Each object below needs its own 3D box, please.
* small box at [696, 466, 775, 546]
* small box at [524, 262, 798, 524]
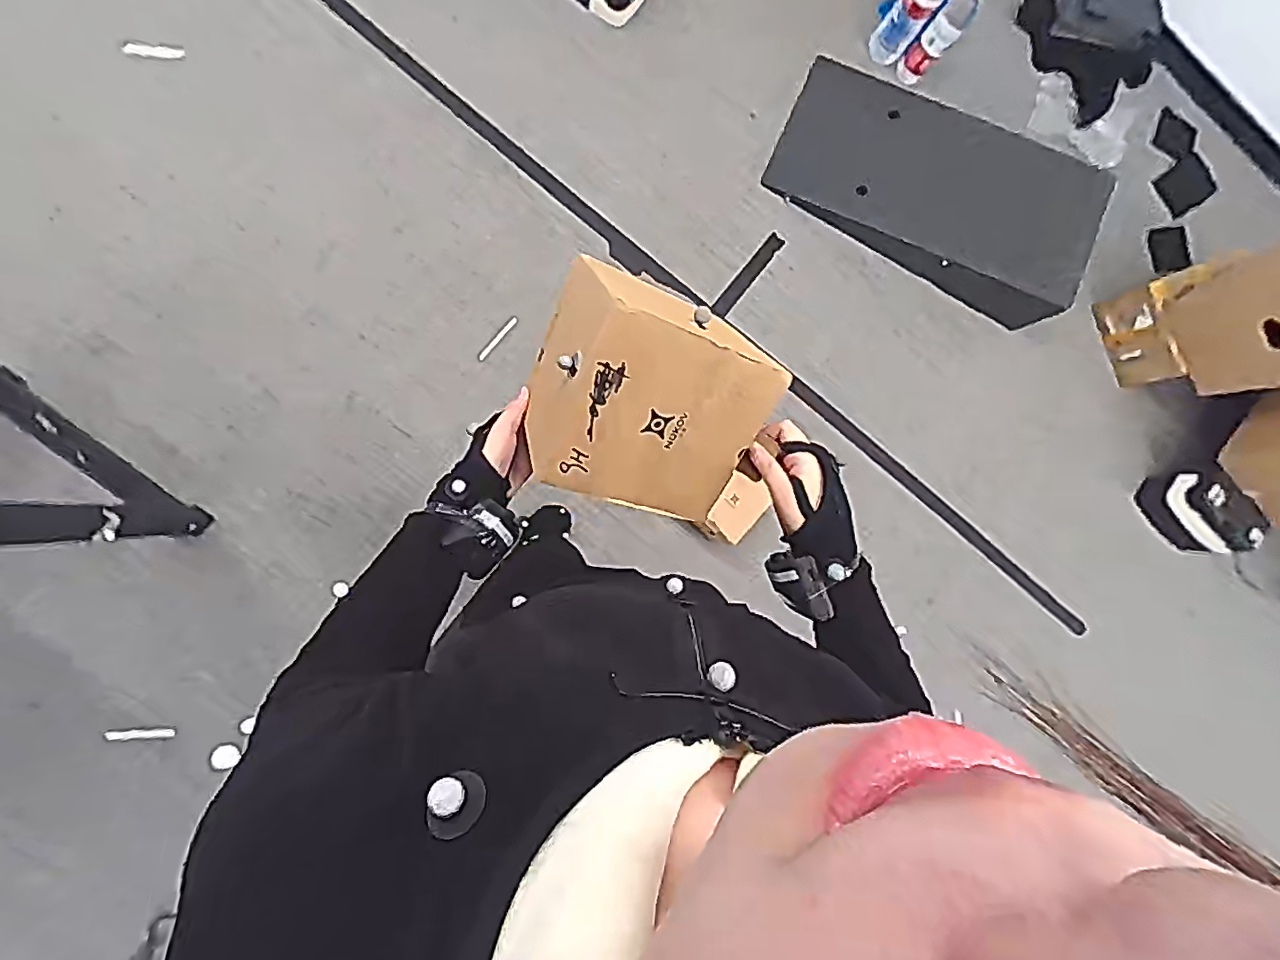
[{"bbox_3d":[0.228,0.059,1.477,0.168,0.176,0.179,45,79,-6],"label":"small box"},{"bbox_3d":[0.004,-0.085,0.510,0.179,0.176,0.168,15,115,-26],"label":"small box"}]
